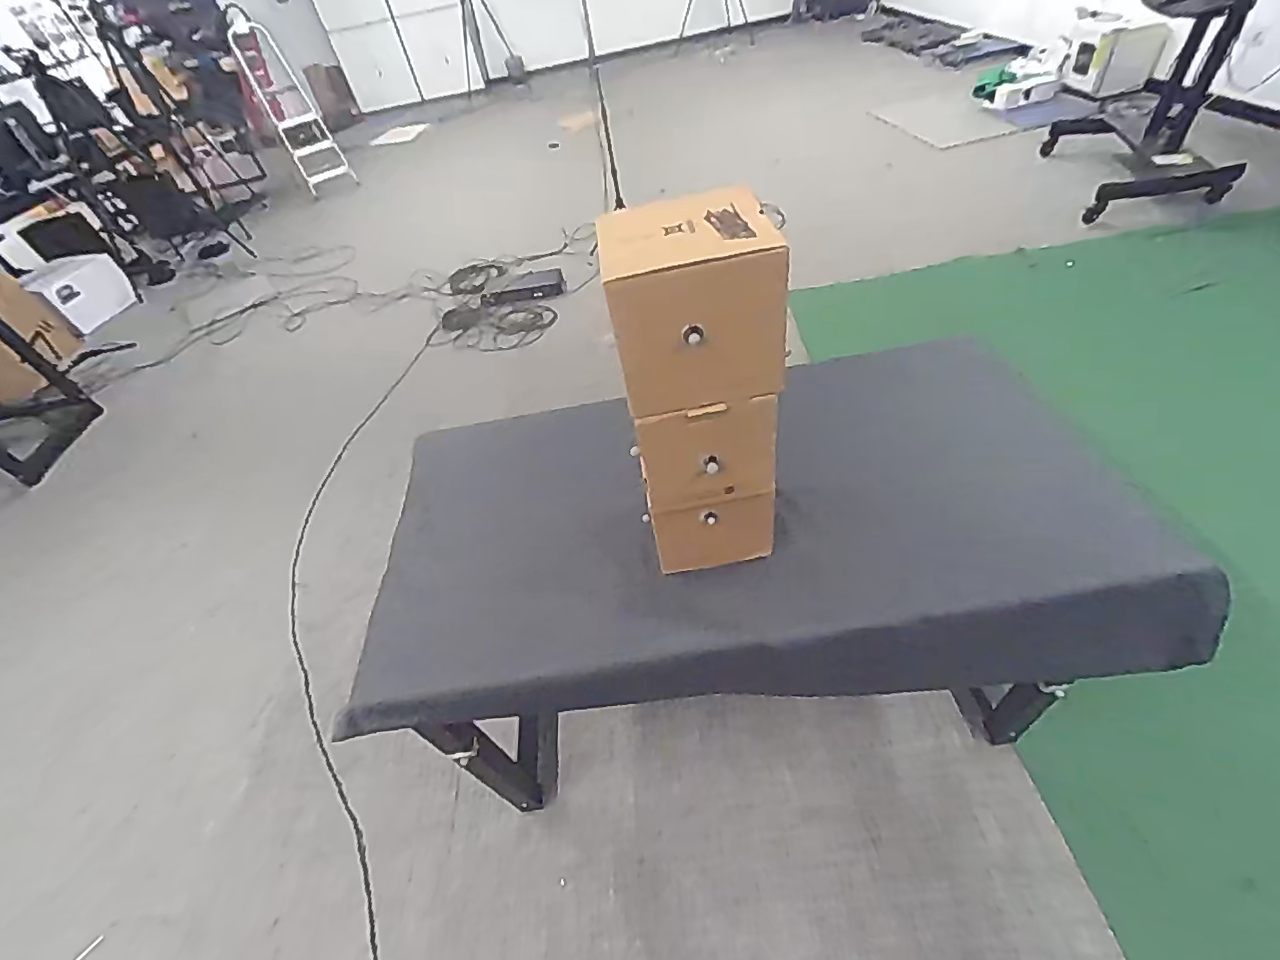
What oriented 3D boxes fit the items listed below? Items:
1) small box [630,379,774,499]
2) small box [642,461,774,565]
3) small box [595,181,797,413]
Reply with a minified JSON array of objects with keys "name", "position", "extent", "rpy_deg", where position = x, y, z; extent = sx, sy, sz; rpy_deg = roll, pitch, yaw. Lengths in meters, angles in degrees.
[{"name":"small box","position":[0.076,-0.091,0.720],"extent":[0.168,0.176,0.179],"rpy_deg":[-11,48,2]},{"name":"small box","position":[0.101,0.014,0.842],"extent":[0.179,0.176,0.168],"rpy_deg":[-10,47,2]},{"name":"small box","position":[0.056,-0.198,0.597],"extent":[0.179,0.176,0.168],"rpy_deg":[-11,47,0]}]
